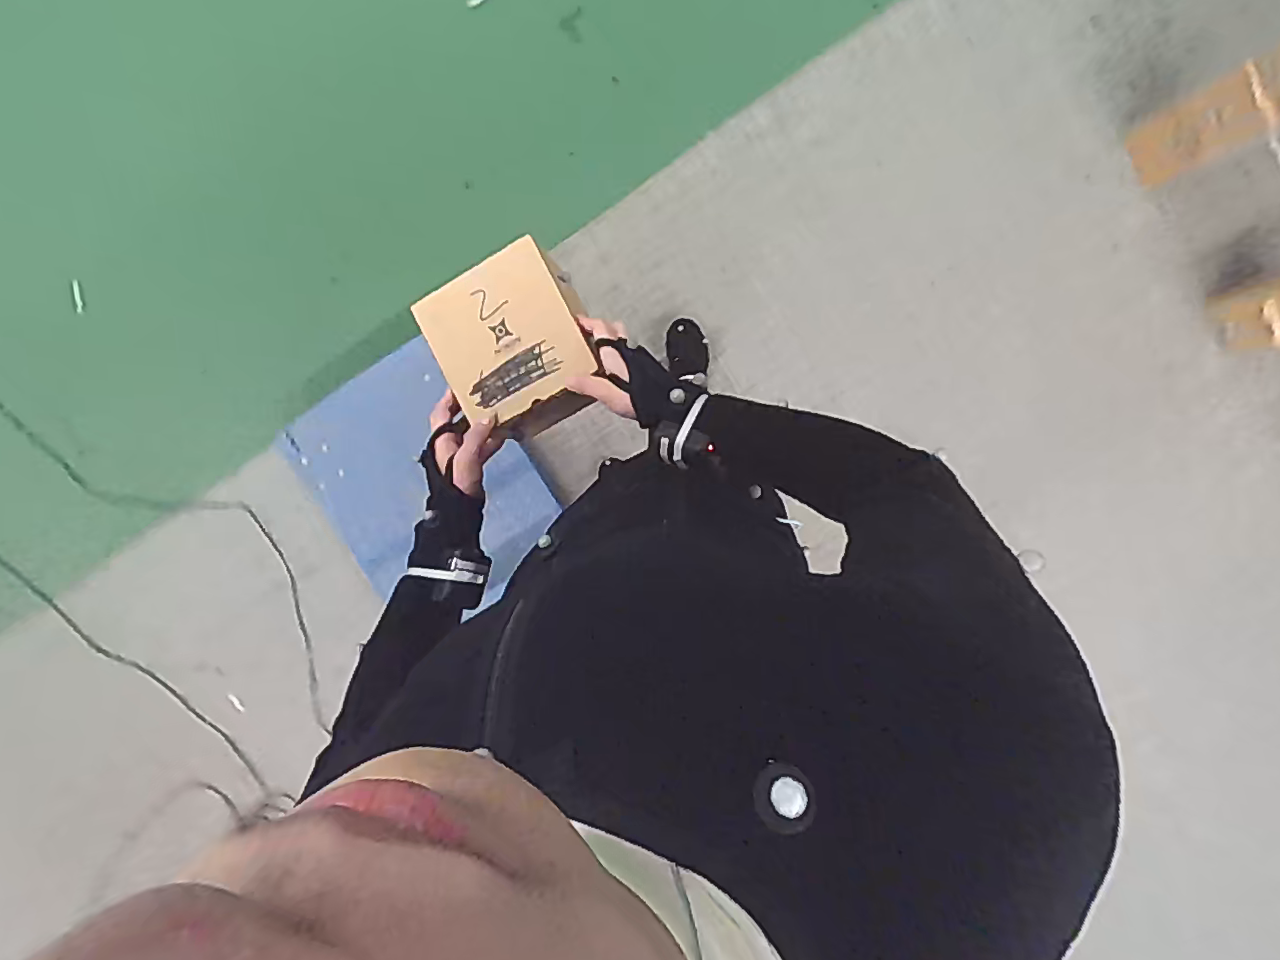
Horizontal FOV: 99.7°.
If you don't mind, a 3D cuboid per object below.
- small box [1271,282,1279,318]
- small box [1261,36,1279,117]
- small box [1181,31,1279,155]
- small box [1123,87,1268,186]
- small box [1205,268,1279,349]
[{"bbox_3d":[1.655,-0.431,1.249,0.179,0.176,0.168,-26,96,6],"label":"small box"},{"bbox_3d":[1.379,-0.846,1.042,0.179,0.176,0.168,-29,95,6],"label":"small box"},{"bbox_3d":[1.376,-0.872,1.206,0.179,0.176,0.168,-28,95,7],"label":"small box"},{"bbox_3d":[1.390,-0.891,1.367,0.168,0.176,0.179,-27,96,6],"label":"small box"},{"bbox_3d":[1.656,-0.457,1.408,0.179,0.176,0.168,-21,94,6],"label":"small box"}]
